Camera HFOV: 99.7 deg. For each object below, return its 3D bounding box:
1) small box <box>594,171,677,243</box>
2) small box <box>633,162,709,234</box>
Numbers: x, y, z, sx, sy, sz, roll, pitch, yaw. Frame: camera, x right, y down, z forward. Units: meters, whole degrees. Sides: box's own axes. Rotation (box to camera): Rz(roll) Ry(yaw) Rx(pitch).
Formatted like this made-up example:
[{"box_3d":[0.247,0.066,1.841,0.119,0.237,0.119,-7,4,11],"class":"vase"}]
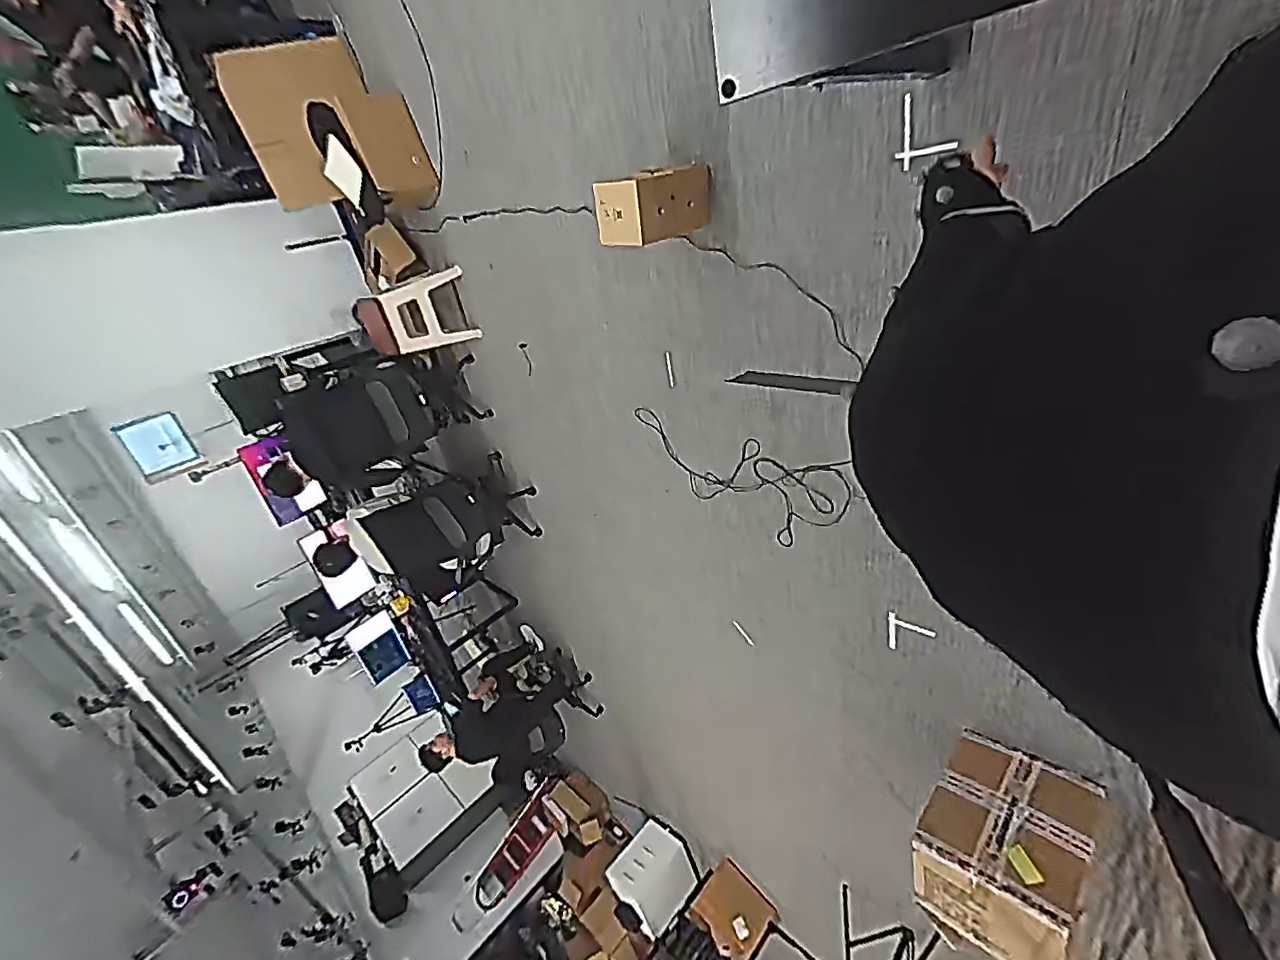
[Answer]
[{"box_3d":[-0.005,-0.793,1.566,0.179,0.176,0.168,22,131,39],"class":"small box"},{"box_3d":[0.100,-0.873,1.665,0.168,0.176,0.179,25,135,37],"class":"small box"}]
